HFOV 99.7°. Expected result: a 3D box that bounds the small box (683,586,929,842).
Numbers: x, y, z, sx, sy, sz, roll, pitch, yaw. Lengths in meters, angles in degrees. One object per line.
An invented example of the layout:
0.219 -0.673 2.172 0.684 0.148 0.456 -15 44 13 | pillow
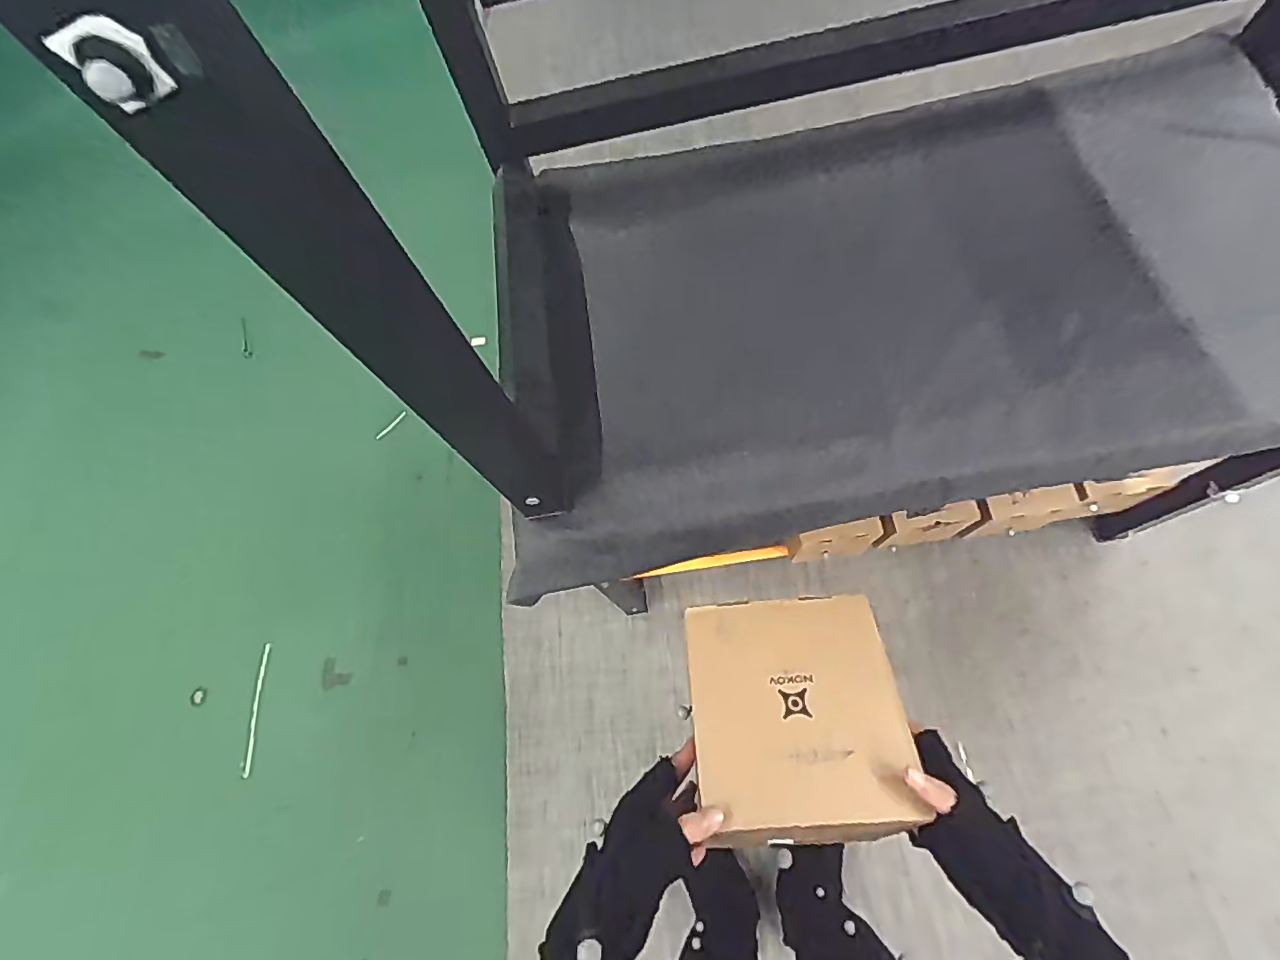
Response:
0.128 0.218 0.498 0.168 0.176 0.179 -6 52 3 | small box
